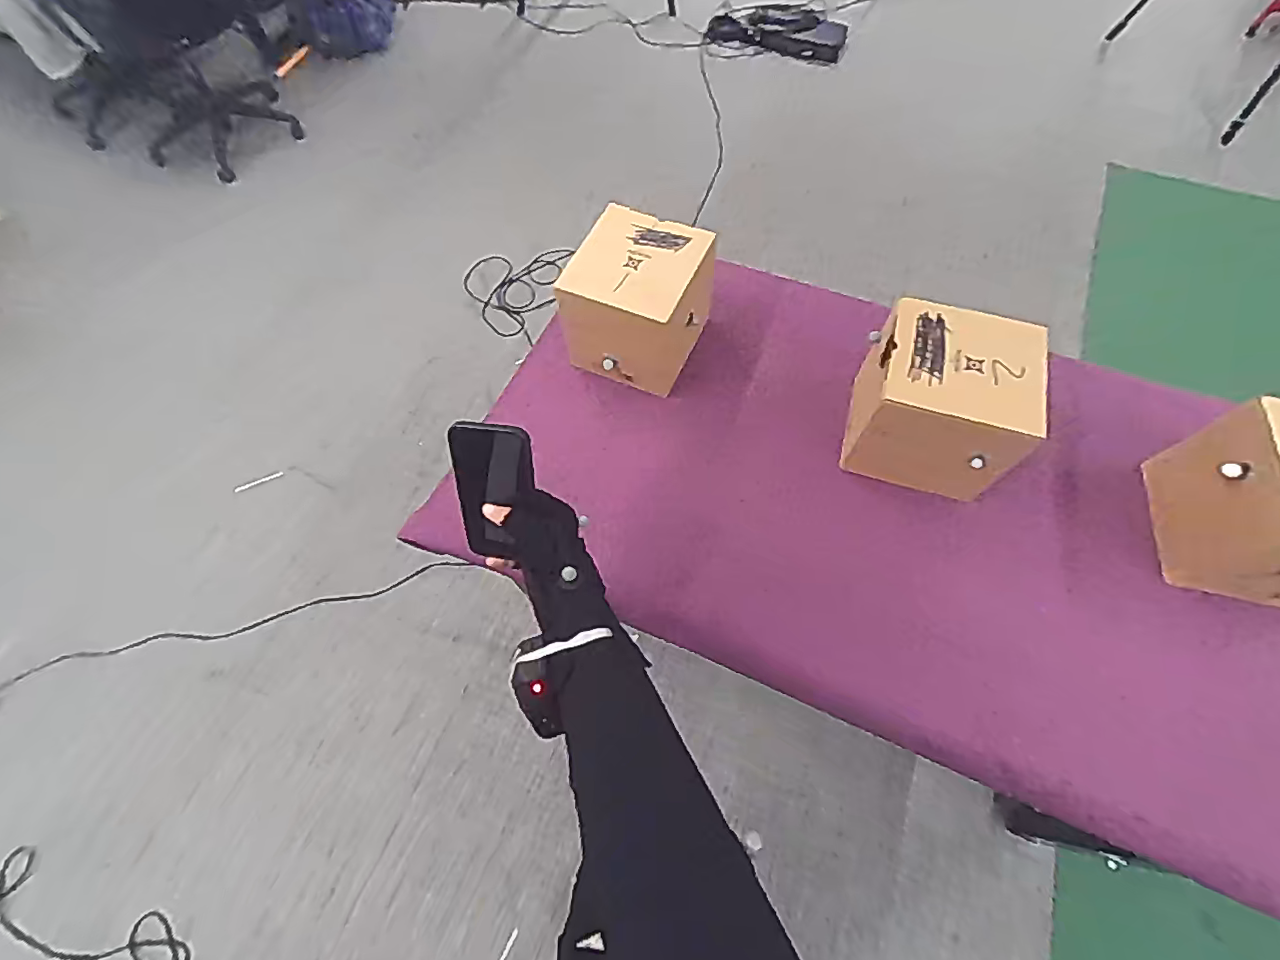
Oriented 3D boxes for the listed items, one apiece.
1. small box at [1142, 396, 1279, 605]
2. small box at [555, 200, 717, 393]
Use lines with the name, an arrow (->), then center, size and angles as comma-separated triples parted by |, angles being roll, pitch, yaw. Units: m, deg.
small box -> 0.737, 0.034, 0.619 | 0.168, 0.176, 0.179 | 11, 64, 8
small box -> -0.003, -0.262, 0.790 | 0.168, 0.176, 0.179 | 22, 68, 12
